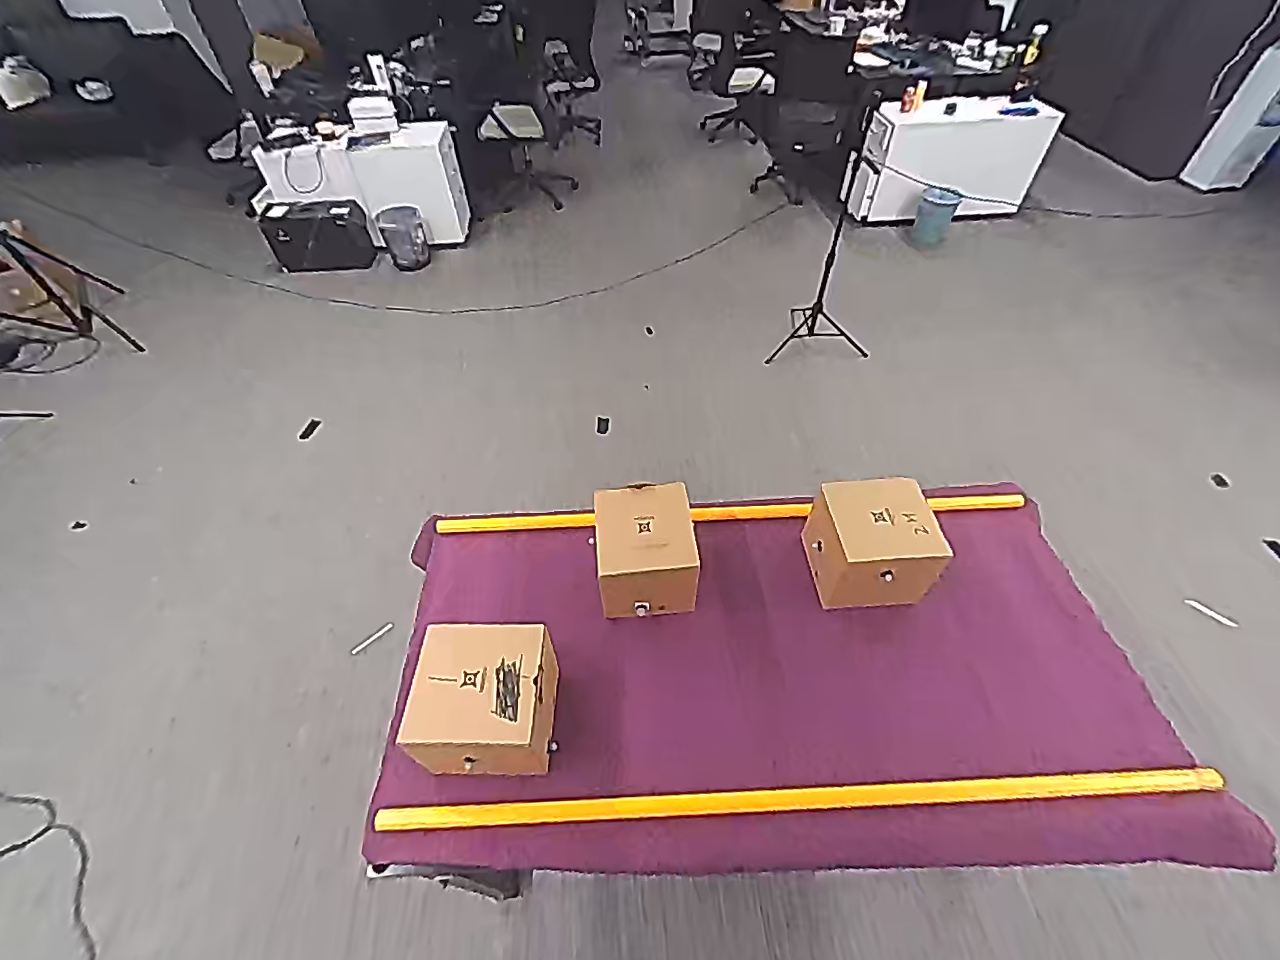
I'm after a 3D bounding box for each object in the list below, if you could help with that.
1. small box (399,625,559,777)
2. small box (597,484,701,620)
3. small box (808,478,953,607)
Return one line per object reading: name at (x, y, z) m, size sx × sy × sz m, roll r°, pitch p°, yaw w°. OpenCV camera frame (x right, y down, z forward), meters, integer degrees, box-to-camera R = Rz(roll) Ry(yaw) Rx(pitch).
small box at (-0.220, 0.329, 0.799) m, size 0.179 × 0.176 × 0.168 m, roll 0°, pitch 49°, yaw 1°
small box at (0.011, 0.130, 0.970) m, size 0.168 × 0.176 × 0.179 m, roll -5°, pitch 50°, yaw -2°
small box at (0.412, 0.116, 0.971) m, size 0.179 × 0.176 × 0.168 m, roll -3°, pitch 51°, yaw -1°
